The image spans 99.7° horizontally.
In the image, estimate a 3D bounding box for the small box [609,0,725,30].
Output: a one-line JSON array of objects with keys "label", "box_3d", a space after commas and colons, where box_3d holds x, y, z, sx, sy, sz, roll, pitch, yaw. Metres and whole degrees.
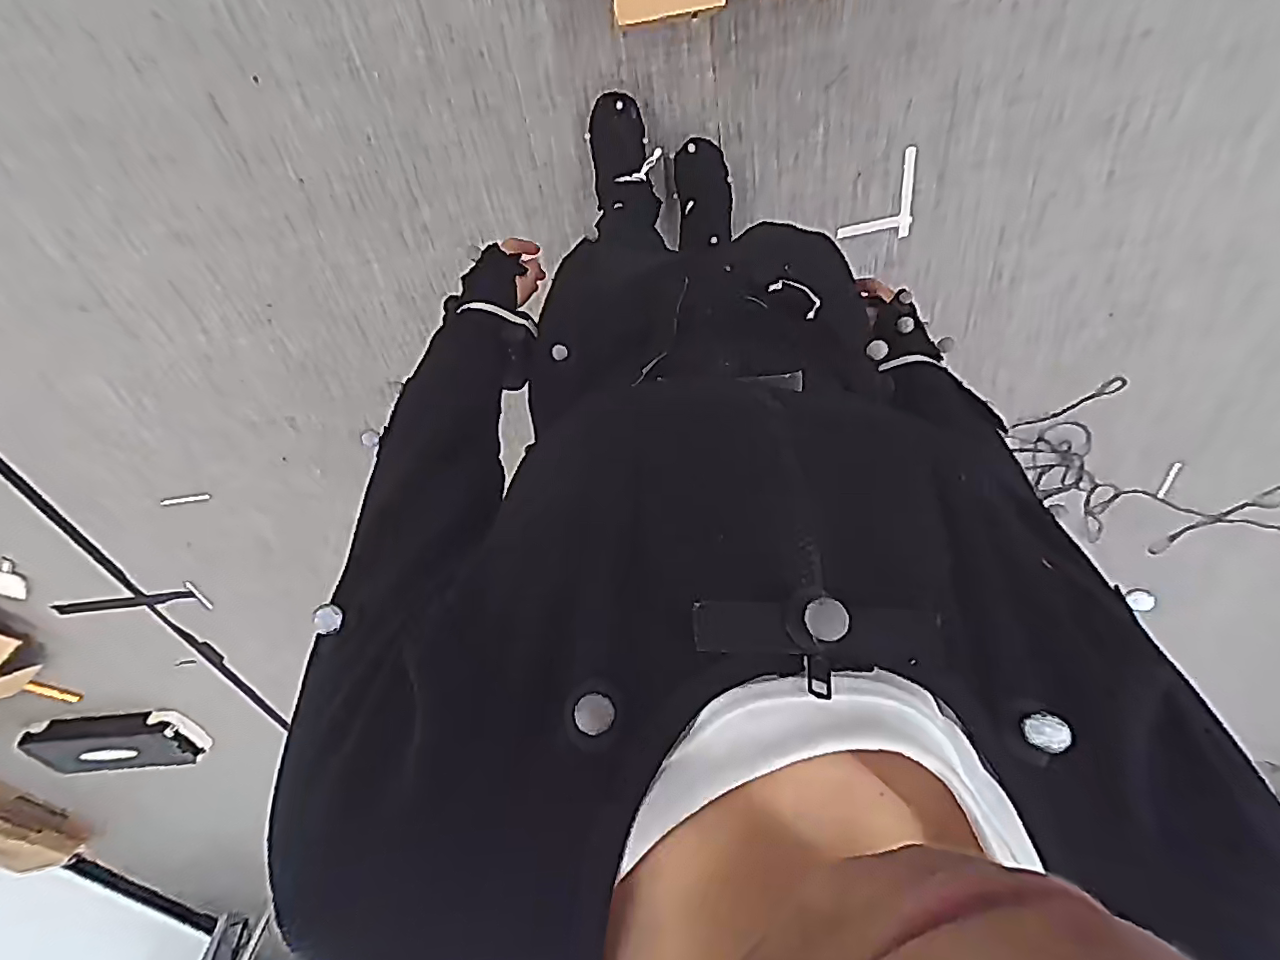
[{"label": "small box", "box_3d": [0.031, -0.830, 0.851, 0.179, 0.176, 0.168, -8, 127, 4]}]
